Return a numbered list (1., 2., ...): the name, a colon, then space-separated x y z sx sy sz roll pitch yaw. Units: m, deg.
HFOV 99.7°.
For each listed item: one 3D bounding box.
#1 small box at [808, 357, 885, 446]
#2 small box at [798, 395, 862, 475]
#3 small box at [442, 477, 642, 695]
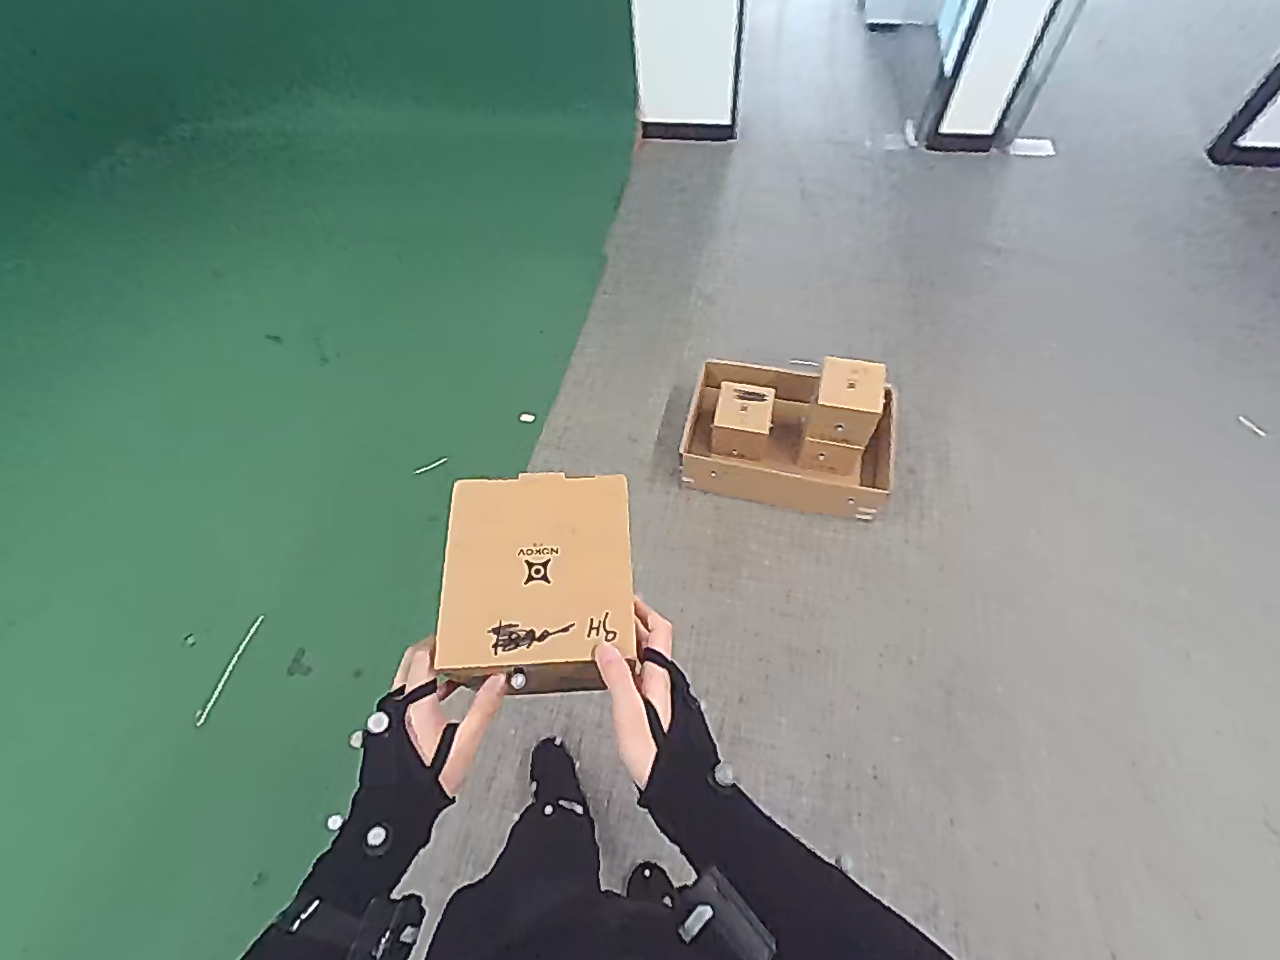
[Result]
1. small box: 0.582 -0.219 1.541 0.168 0.176 0.179 12 62 12
2. small box: 0.594 -0.136 1.683 0.168 0.176 0.179 11 62 12
3. small box: -0.086 0.113 0.553 0.168 0.176 0.179 -1 61 -3
